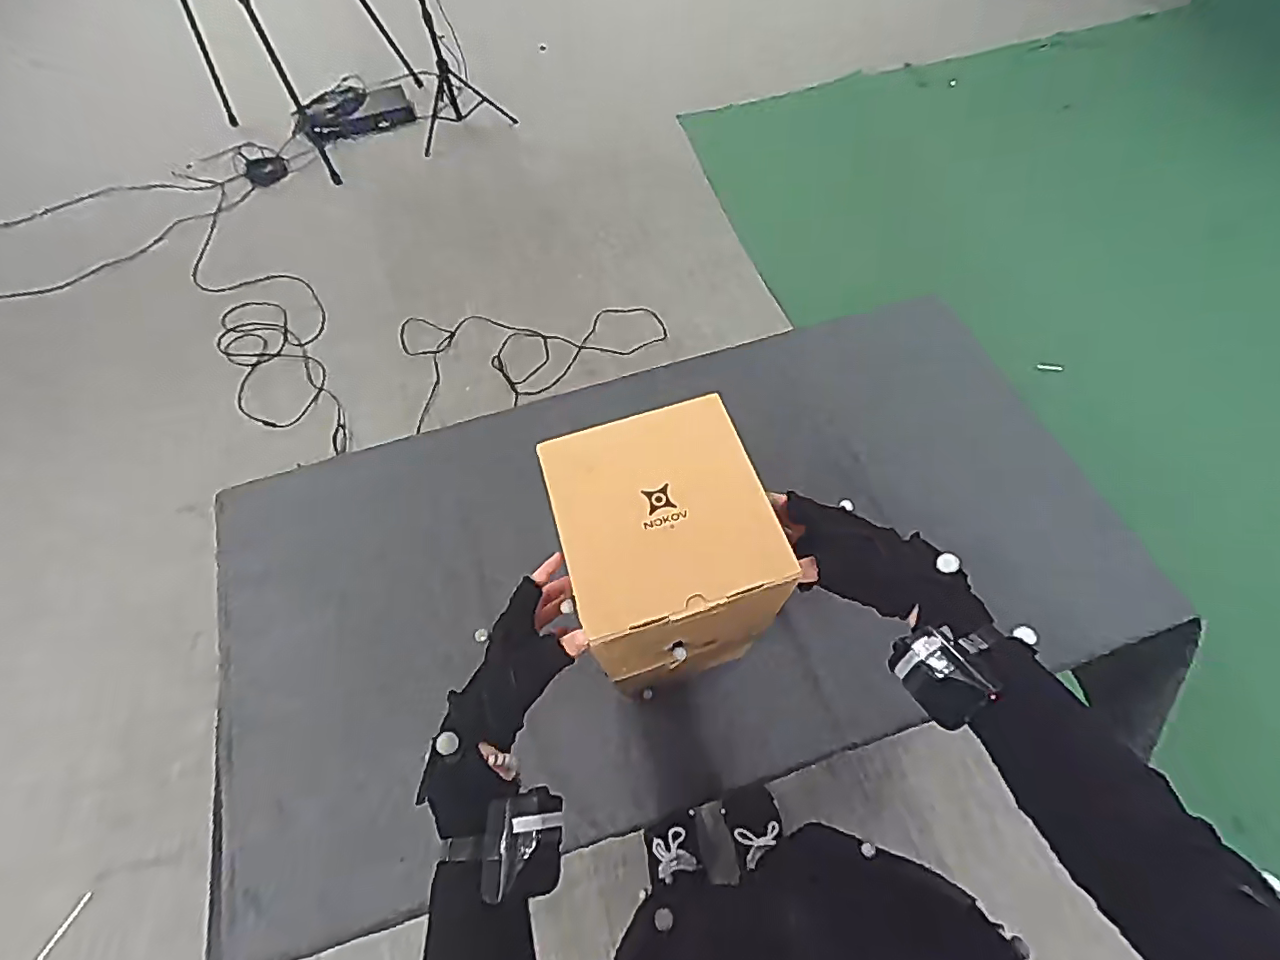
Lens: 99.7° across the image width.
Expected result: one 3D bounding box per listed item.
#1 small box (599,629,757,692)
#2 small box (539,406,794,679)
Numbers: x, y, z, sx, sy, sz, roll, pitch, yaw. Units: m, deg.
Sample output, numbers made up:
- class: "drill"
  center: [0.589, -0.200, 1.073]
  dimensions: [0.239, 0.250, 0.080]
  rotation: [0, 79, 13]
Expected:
- class: "small box"
  center: [0.023, 0.141, 0.646]
  dimensions: [0.168, 0.176, 0.179]
  rotation: [-18, 62, -6]
- class: "small box"
  center: [0.016, 0.064, 0.503]
  dimensions: [0.168, 0.176, 0.179]
  rotation: [-17, 63, -6]
